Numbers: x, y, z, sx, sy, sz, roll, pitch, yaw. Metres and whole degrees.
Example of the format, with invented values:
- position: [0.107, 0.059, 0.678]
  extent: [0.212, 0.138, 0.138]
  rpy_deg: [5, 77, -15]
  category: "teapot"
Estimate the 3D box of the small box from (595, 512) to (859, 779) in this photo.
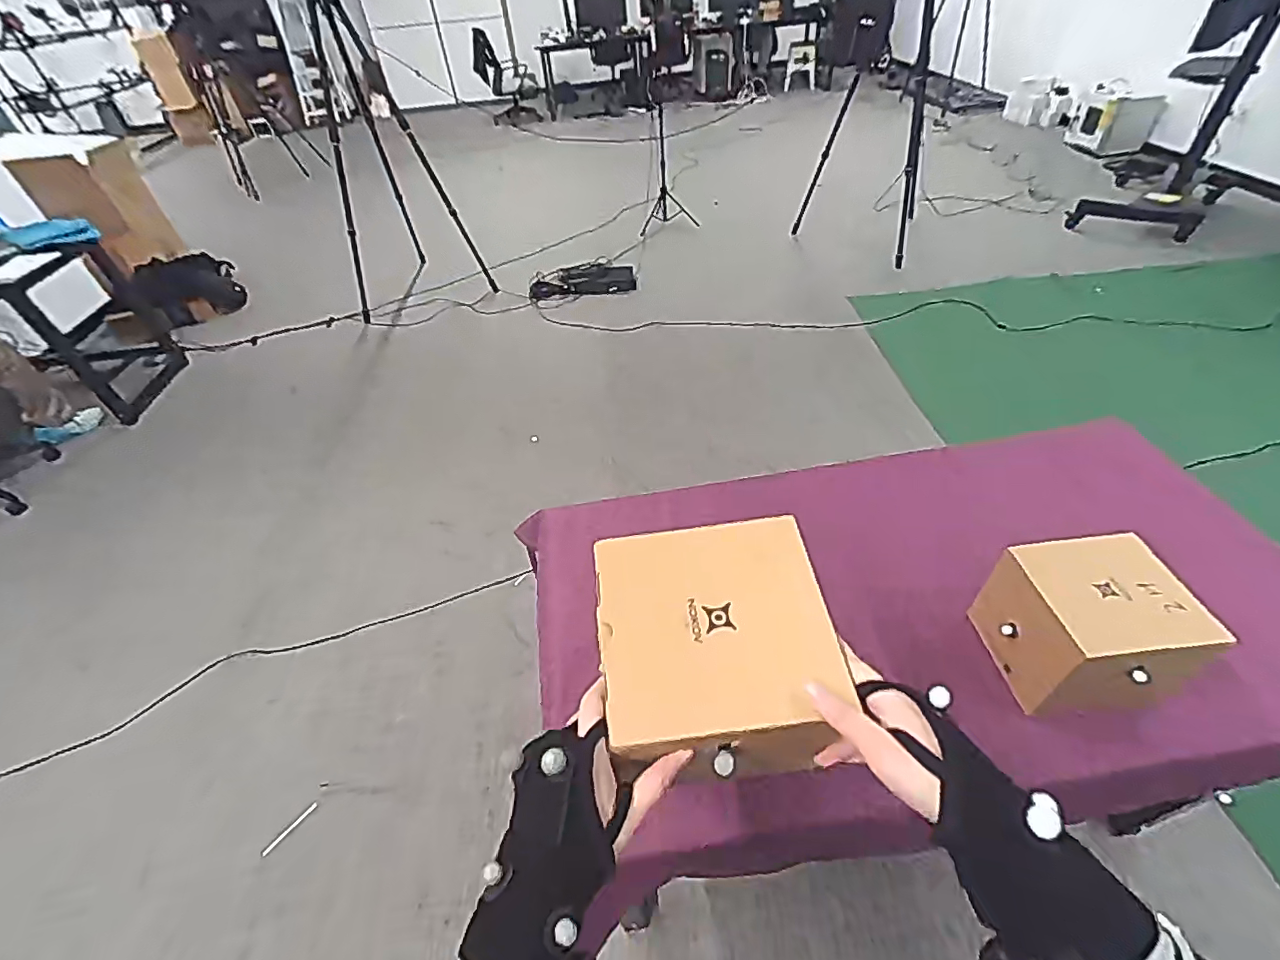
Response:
- position: [0.061, 0.150, 0.475]
  extent: [0.179, 0.176, 0.168]
  rpy_deg: [-8, 52, 0]
  category: "small box"

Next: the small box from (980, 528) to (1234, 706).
- position: [0.593, 0.188, 0.726]
  extent: [0.179, 0.176, 0.168]
  rpy_deg: [-6, 45, 1]
  category: "small box"
